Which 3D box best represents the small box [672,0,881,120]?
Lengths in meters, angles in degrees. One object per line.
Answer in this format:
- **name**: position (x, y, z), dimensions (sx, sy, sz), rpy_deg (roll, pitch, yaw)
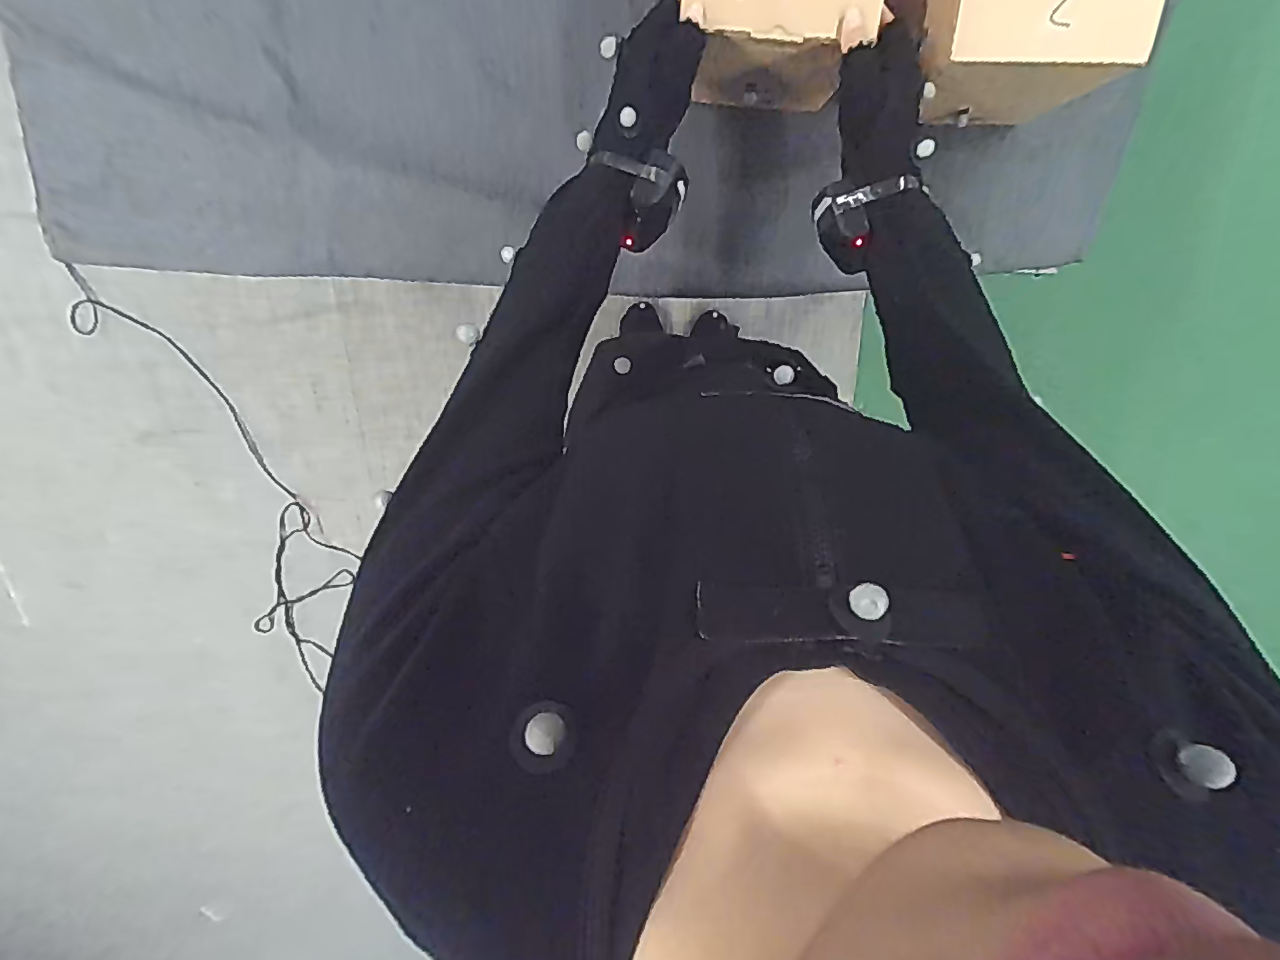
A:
- **small box**: position (0.121, -0.469, 0.503), dimensions (0.168, 0.176, 0.179), rpy_deg (5, 108, -1)
